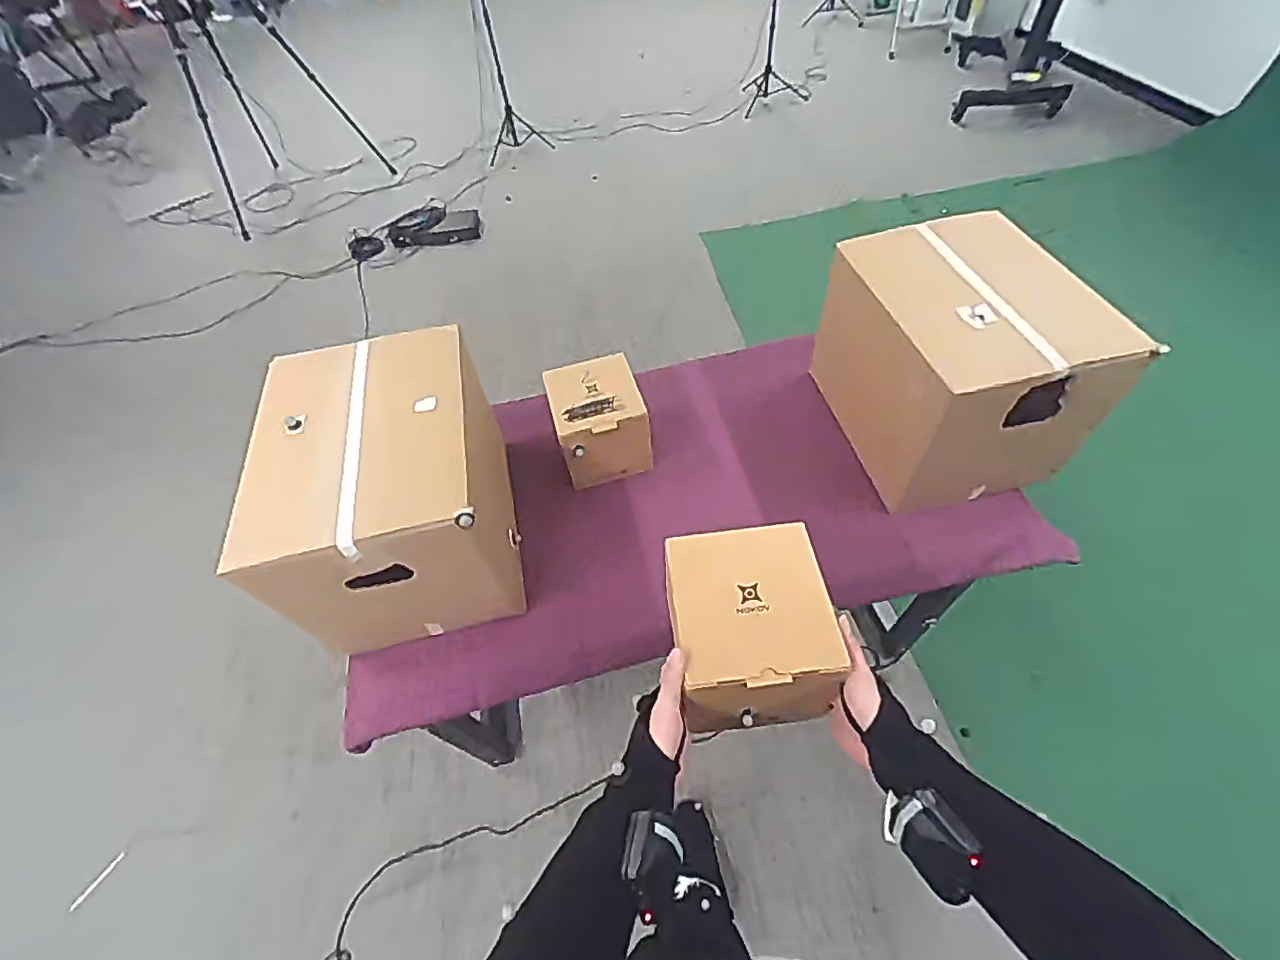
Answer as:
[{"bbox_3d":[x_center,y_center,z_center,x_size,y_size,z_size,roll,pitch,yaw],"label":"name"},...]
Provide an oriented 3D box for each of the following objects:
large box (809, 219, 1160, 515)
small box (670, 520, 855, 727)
[{"bbox_3d":[0.552,-0.205,0.984,0.320,0.320,0.408,-13,54,-3],"label":"large box"},{"bbox_3d":[0.126,0.171,0.638,0.168,0.176,0.179,-7,52,-1],"label":"small box"}]
